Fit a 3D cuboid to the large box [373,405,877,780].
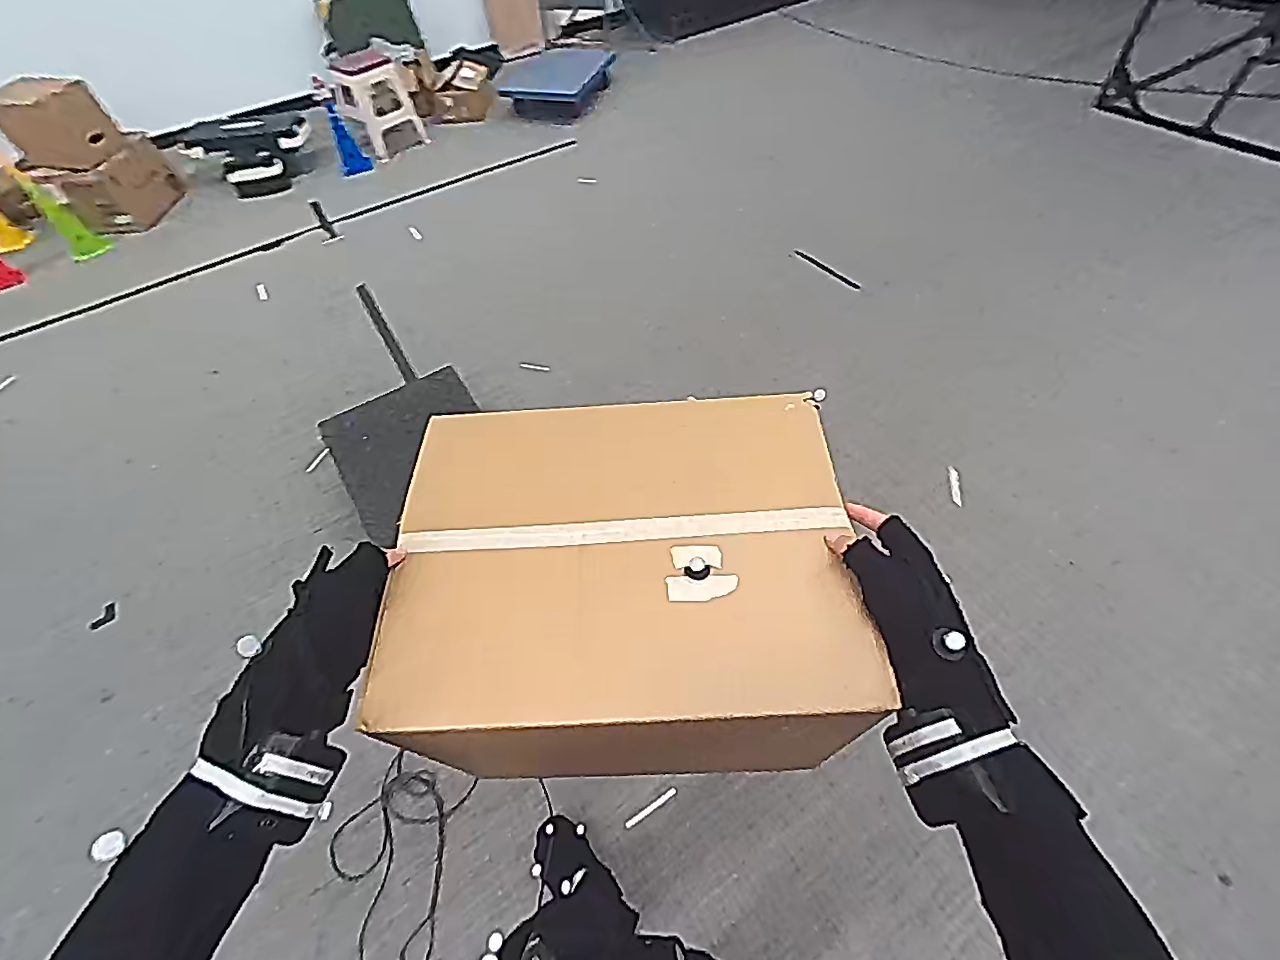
[{"bbox_3d":[-0.013,0.142,0.624,0.408,0.320,0.320,-3,55,1],"label":"large box"}]
